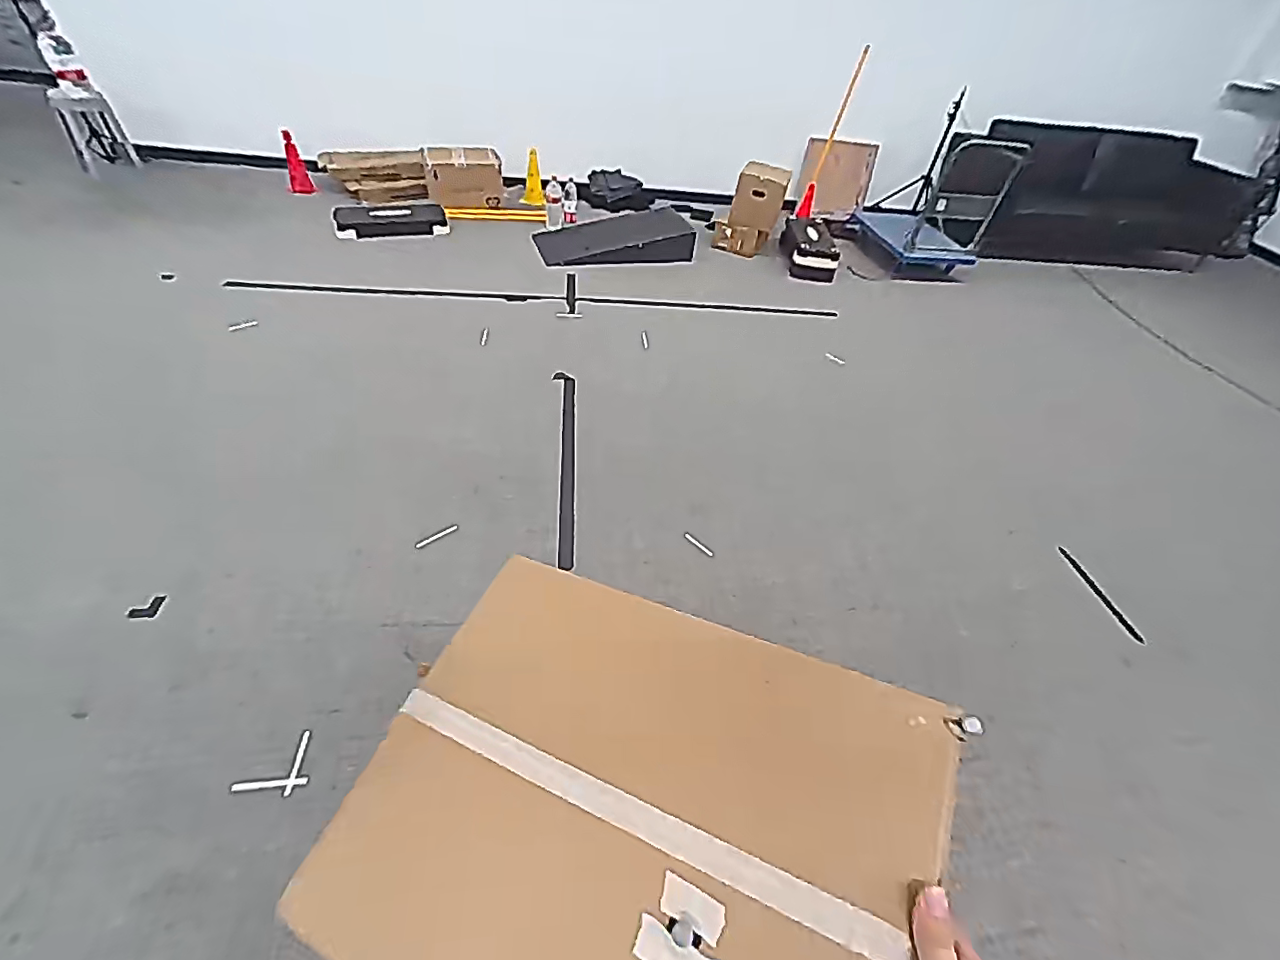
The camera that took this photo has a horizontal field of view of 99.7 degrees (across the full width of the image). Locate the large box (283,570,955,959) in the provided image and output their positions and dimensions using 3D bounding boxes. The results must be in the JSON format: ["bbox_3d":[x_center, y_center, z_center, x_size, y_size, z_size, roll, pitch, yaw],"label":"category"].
[{"bbox_3d":[0.011,0.336,0.495,0.408,0.320,0.320,14,54,20],"label":"large box"}]
